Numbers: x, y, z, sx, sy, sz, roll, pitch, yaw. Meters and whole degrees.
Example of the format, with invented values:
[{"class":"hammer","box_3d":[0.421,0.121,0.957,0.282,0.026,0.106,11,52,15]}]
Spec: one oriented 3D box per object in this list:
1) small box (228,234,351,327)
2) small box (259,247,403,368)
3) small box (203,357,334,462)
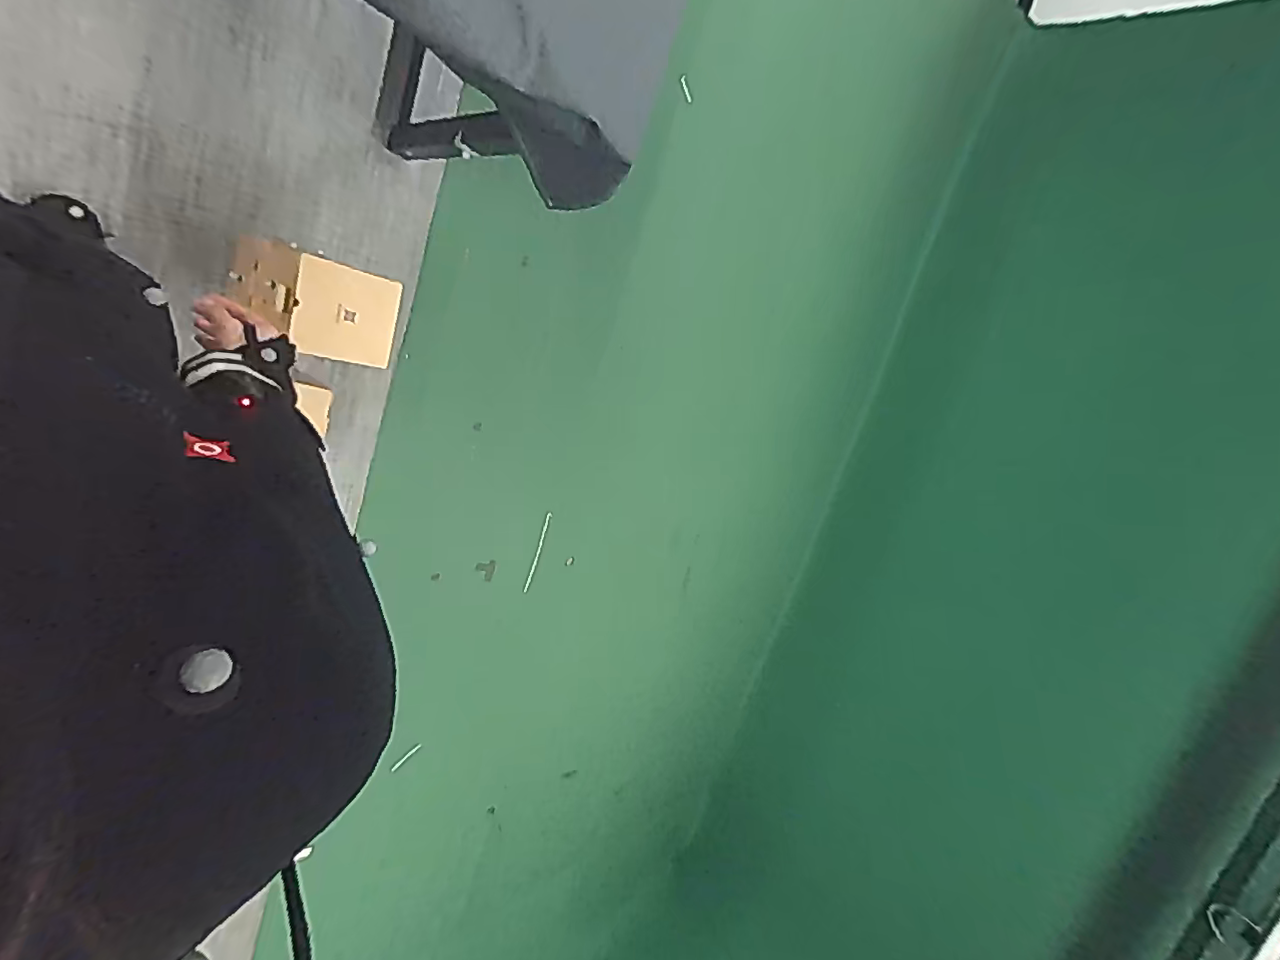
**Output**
[{"class":"small box","box_3d":[-0.707,-0.382,1.096,0.179,0.176,0.168,5,105,-50]},{"class":"small box","box_3d":[-0.579,-0.323,1.010,0.179,0.176,0.168,3,108,-50]},{"class":"small box","box_3d":[-0.784,-0.150,1.139,0.179,0.176,0.168,10,102,-49]}]
